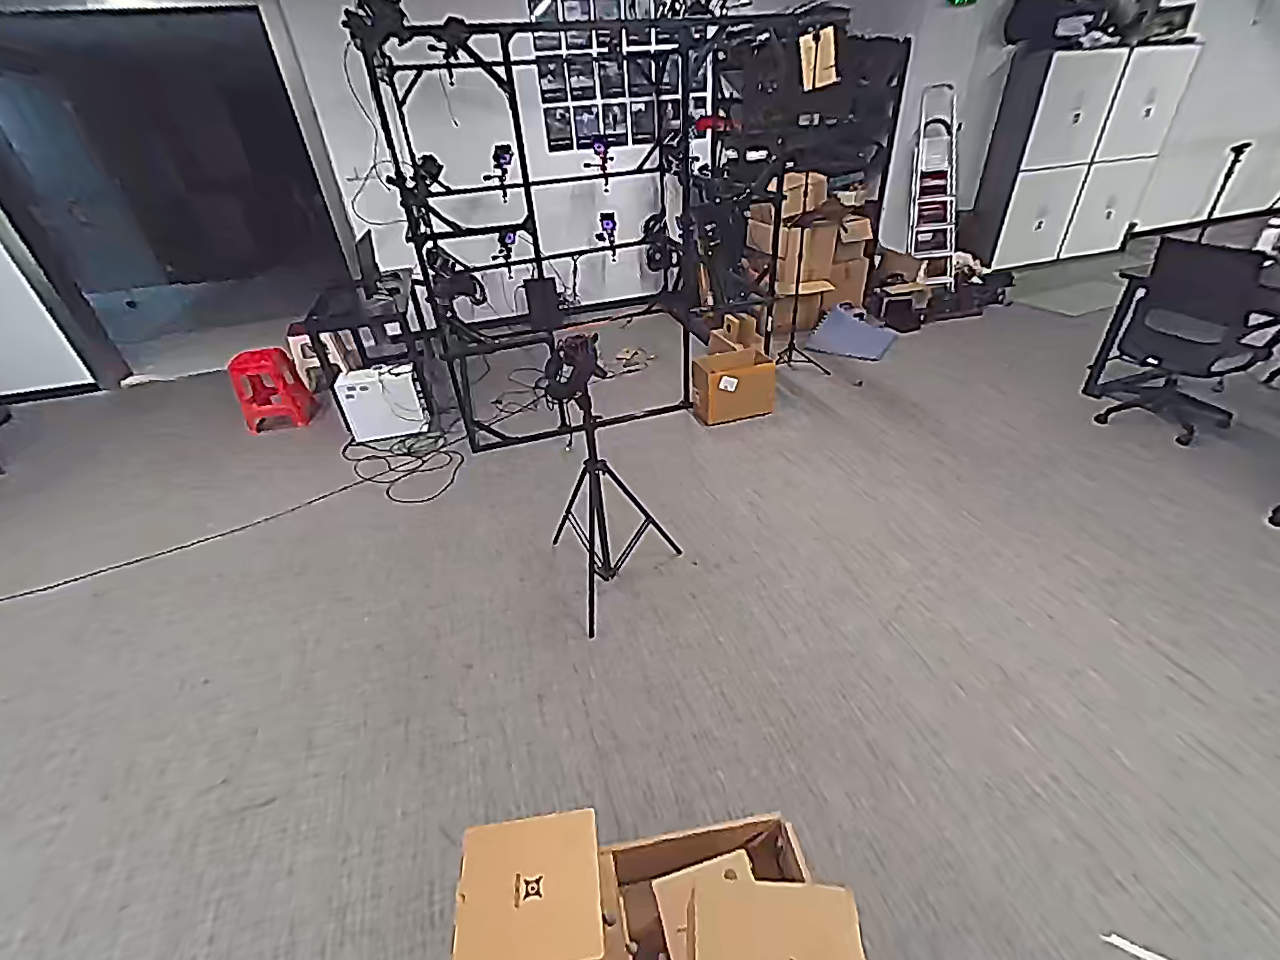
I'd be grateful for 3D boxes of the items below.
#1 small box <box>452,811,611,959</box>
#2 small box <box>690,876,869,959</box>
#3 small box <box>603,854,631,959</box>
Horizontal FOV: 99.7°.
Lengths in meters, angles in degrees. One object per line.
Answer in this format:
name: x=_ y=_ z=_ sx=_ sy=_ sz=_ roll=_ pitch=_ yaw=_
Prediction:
small box: x=-0.130 y=0.566 z=0.700 sx=0.179 sy=0.176 sz=0.168 roll=-7 pitch=33 yaw=-6
small box: x=0.143 y=0.552 z=0.583 sx=0.179 sy=0.176 sz=0.168 roll=2 pitch=43 yaw=3
small box: x=-0.099 y=0.699 z=0.793 sx=0.168 sy=0.176 sz=0.179 roll=-8 pitch=33 yaw=-8
